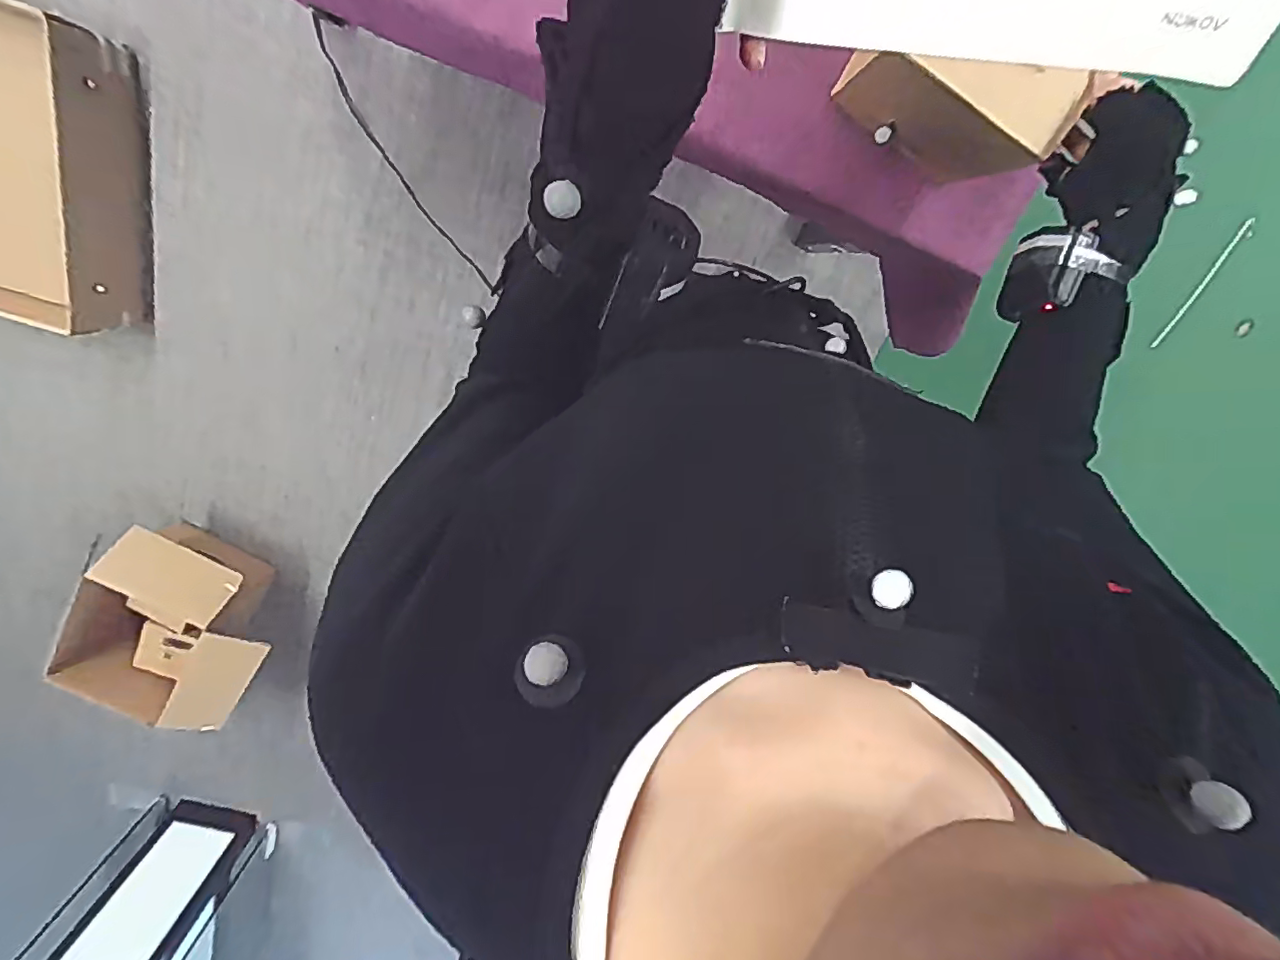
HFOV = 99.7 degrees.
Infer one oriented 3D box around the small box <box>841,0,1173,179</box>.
[{"bbox_3d":[0.310,-0.399,0.474,0.168,0.176,0.179,29,111,-10],"label":"small box"}]
